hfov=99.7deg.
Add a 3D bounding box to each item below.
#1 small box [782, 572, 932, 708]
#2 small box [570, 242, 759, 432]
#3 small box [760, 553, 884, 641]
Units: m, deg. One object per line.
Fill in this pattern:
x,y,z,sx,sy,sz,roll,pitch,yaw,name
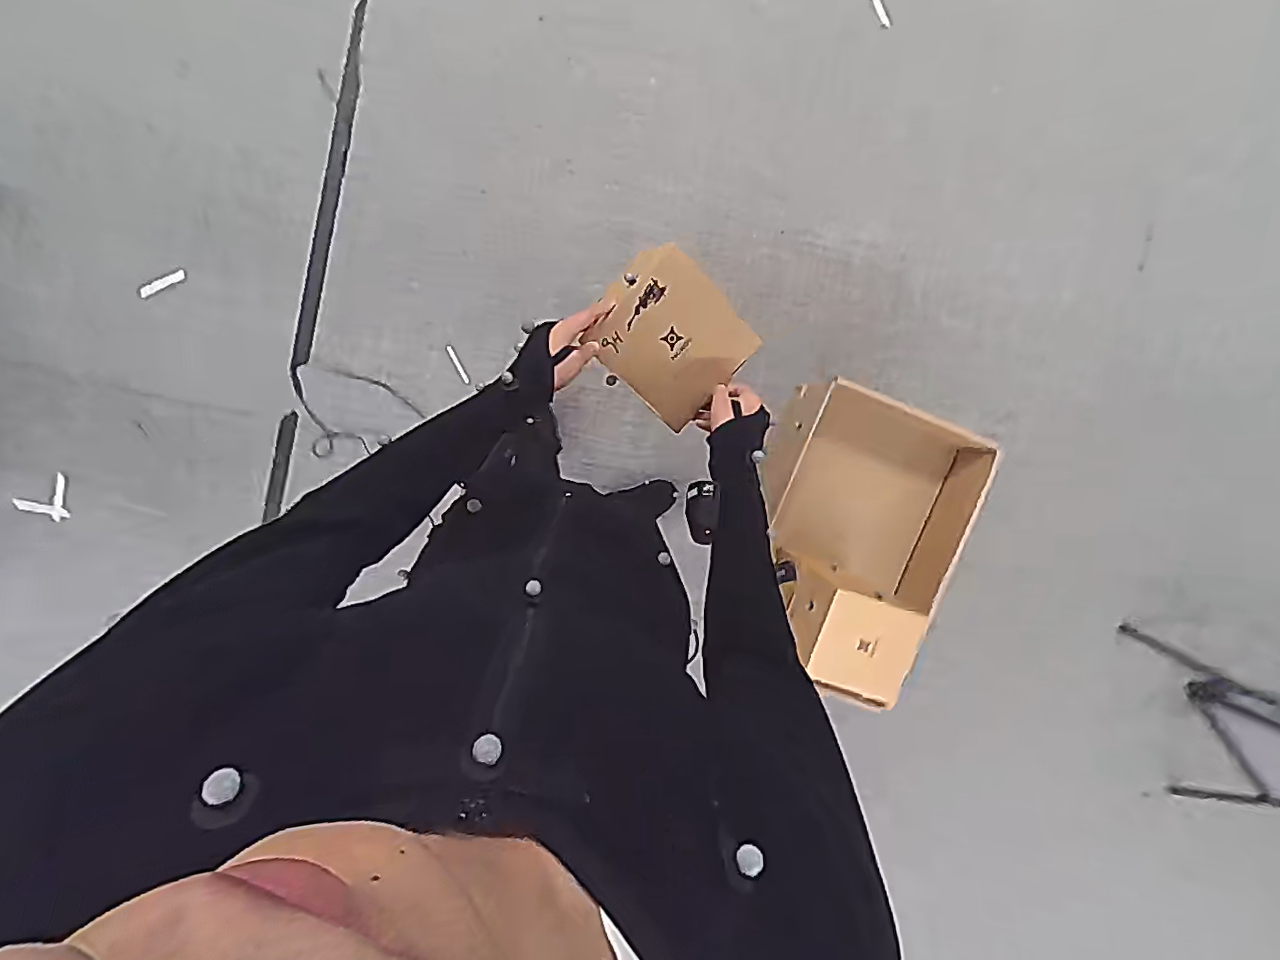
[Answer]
0.384,0.281,0.994,0.179,0.176,0.168,20,94,-5,small box
0.023,-0.199,0.742,0.179,0.176,0.168,40,97,-22,small box
0.377,0.266,1.156,0.179,0.176,0.168,19,94,-4,small box
